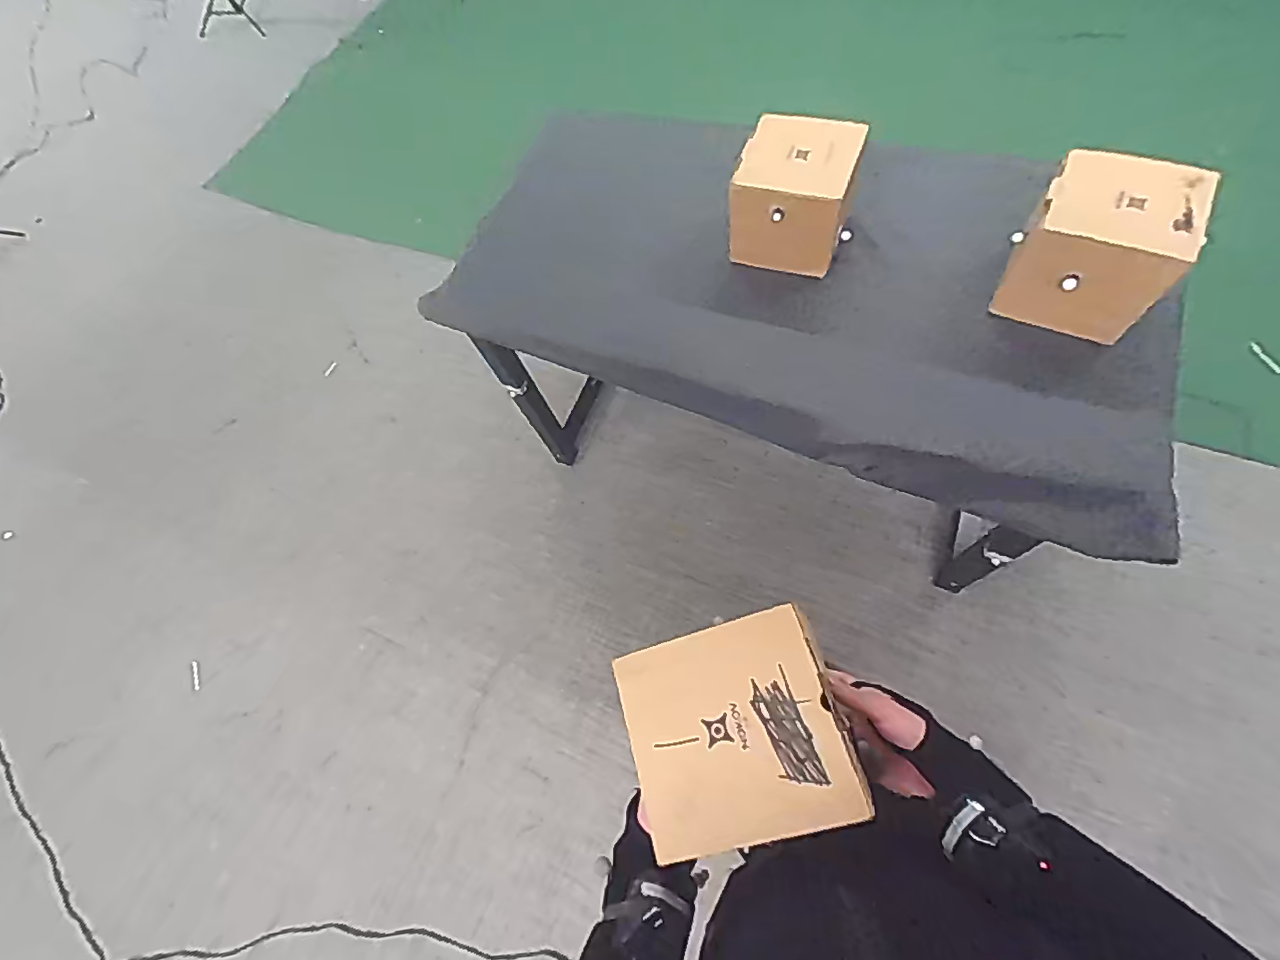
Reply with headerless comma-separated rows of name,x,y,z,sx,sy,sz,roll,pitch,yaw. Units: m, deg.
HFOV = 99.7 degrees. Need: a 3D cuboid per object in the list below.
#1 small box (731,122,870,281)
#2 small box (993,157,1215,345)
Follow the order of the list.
small box,0.264,-0.467,0.921,0.179,0.176,0.168,18,72,16
small box,0.653,-0.324,0.784,0.179,0.176,0.168,24,73,20
